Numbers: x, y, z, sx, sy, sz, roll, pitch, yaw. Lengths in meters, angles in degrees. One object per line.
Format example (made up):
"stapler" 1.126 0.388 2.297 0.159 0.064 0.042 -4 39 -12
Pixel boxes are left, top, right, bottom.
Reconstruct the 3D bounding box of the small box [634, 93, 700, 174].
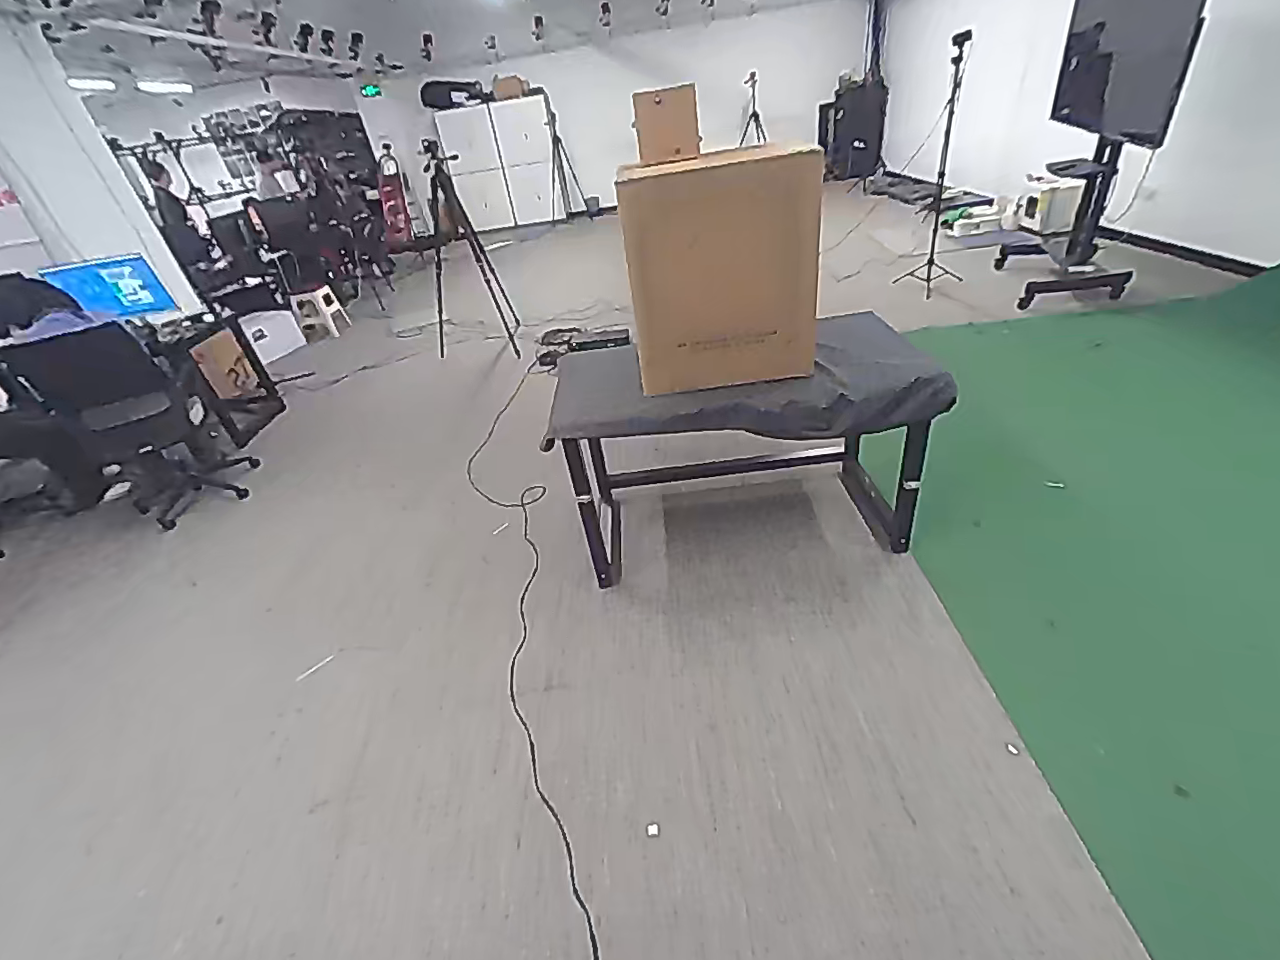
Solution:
"small box" 0.076 -0.967 1.517 0.168 0.176 0.179 -7 32 5
